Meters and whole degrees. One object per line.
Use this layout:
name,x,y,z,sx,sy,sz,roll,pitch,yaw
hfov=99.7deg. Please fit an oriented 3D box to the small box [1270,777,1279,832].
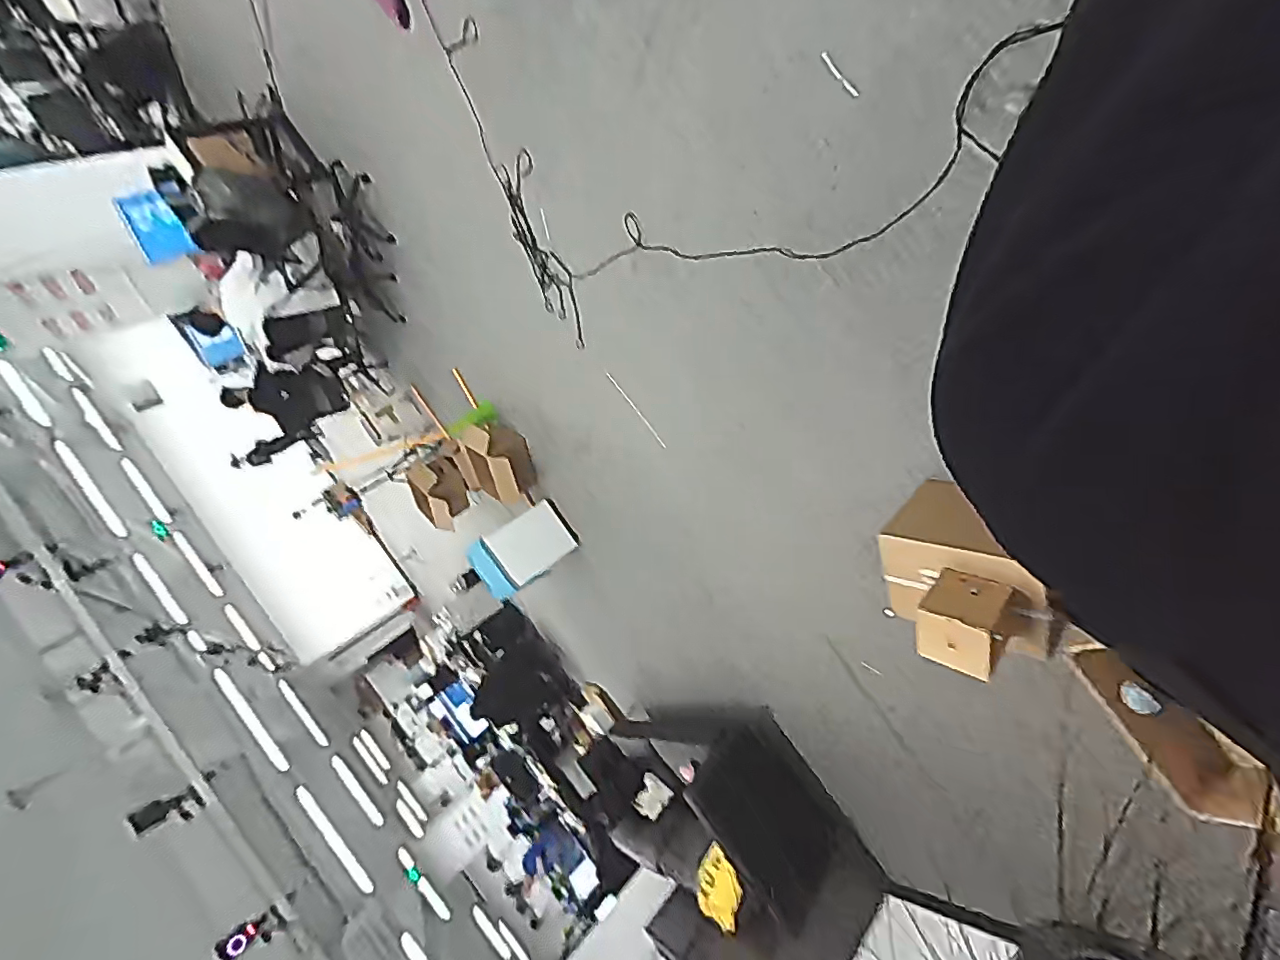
small box,0.971,0.413,0.674,0.168,0.176,0.179,37,143,27

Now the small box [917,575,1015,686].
small box,0.825,0.373,1.368,0.168,0.176,0.179,15,132,48

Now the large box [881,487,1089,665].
large box,0.968,0.242,1.522,0.408,0.320,0.320,11,128,51
